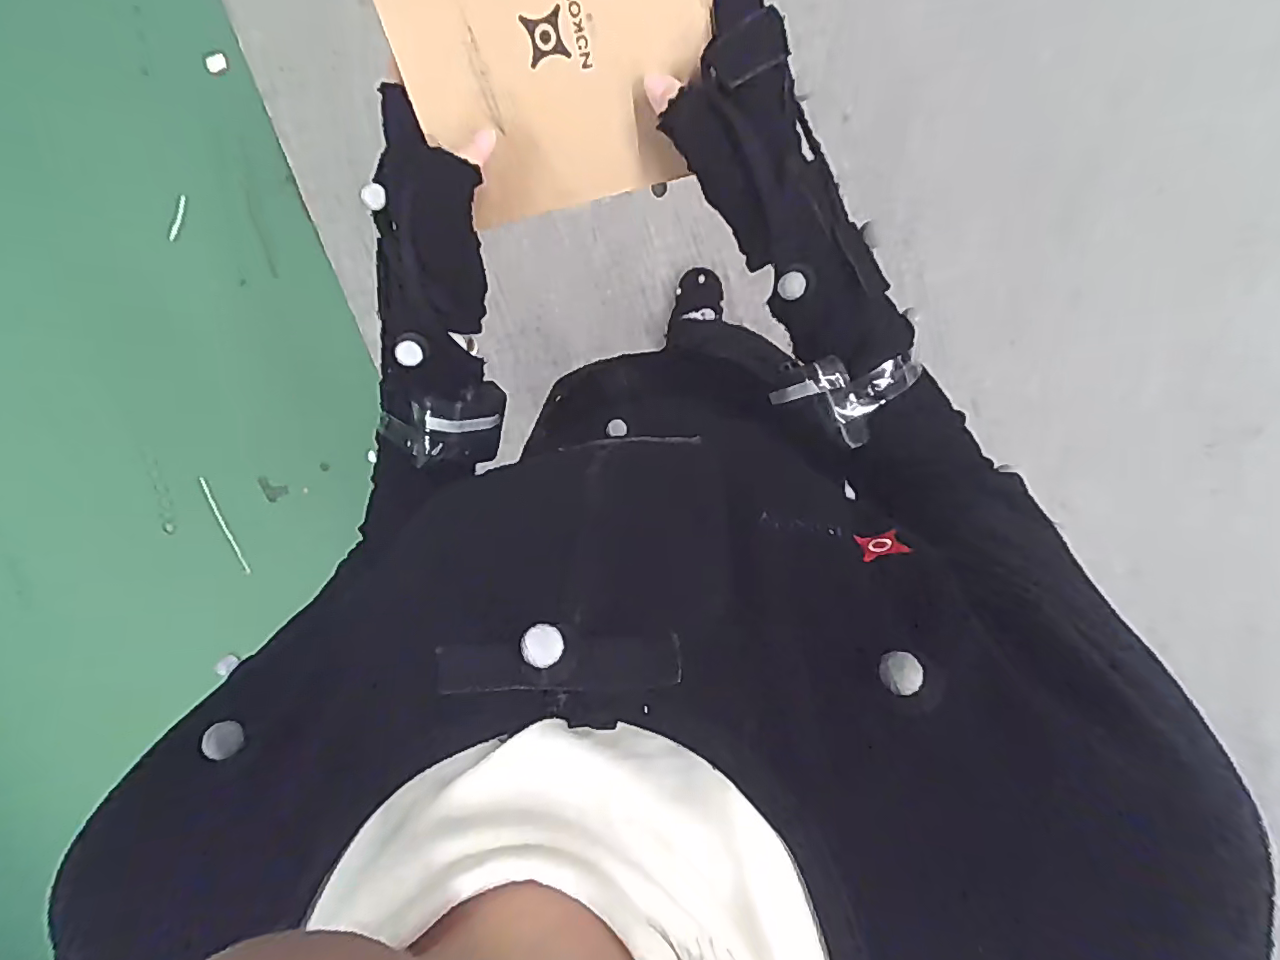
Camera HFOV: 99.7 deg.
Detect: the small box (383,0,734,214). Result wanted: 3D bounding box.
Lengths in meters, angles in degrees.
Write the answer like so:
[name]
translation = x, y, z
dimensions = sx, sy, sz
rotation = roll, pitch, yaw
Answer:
[small box]
translation = -0.047, -0.294, 0.353
dimensions = 0.179, 0.176, 0.168
rotation = -11, 123, 7
